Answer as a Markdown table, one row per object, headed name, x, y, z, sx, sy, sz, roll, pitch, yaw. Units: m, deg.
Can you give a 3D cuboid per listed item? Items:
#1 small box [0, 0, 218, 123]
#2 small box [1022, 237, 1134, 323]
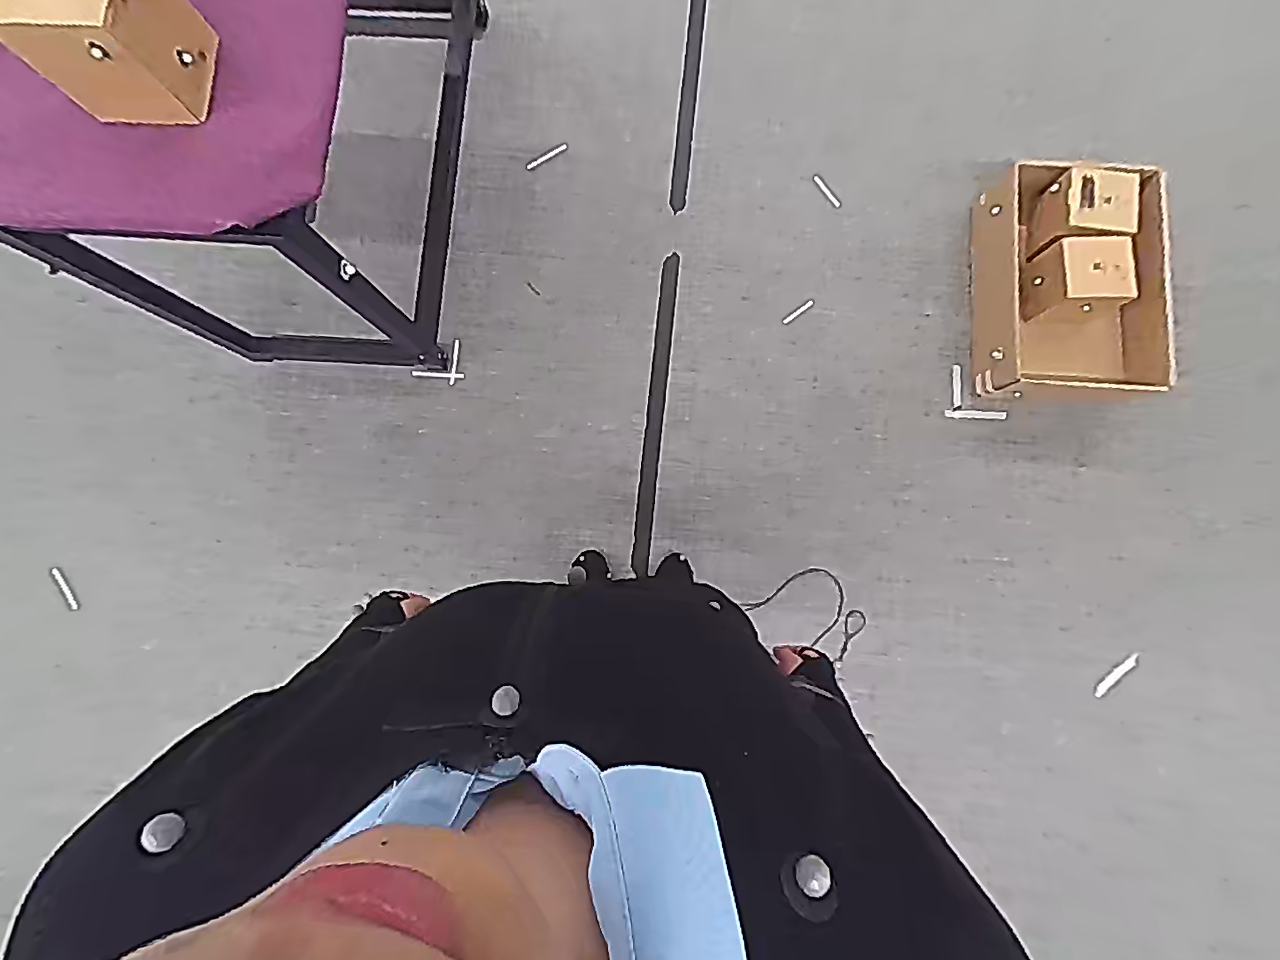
| name | x | y | z | sx | sy | sz | roll | pitch | yaw |
| --- | --- | --- | --- | --- | --- | --- | --- | --- | --- |
| small box | -0.790 | -0.670 | 0.808 | 0.179 | 0.176 | 0.168 | 1 | 82 | 0 |
| small box | 1.171 | -0.534 | 1.463 | 0.179 | 0.176 | 0.168 | 0 | 84 | 1 |
